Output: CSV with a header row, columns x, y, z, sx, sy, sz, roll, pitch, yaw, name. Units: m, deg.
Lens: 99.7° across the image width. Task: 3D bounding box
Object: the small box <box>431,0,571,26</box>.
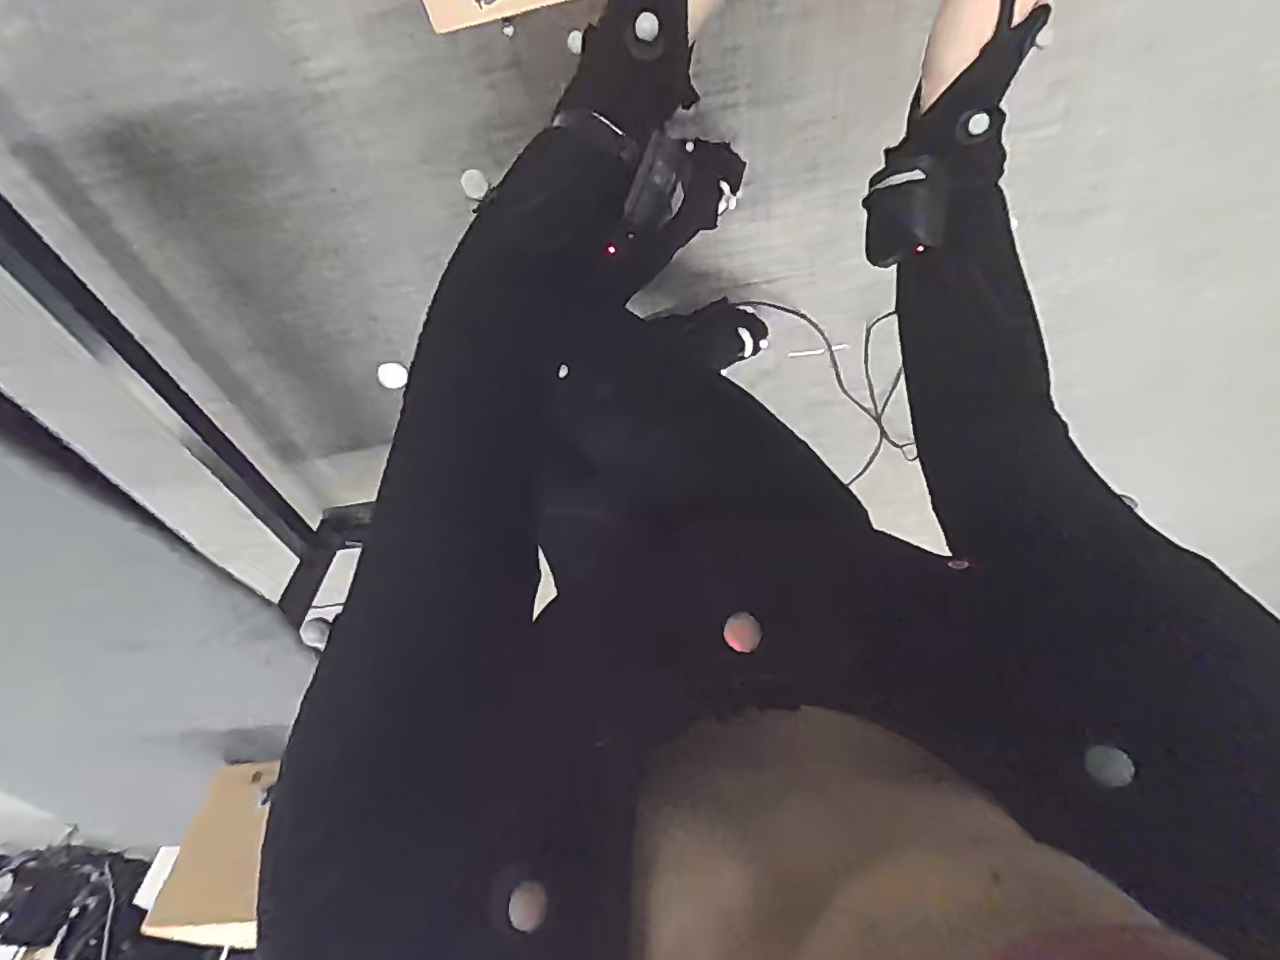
x,y,z,sx,sy,sz,roll,pitch,yaw,name
-0.118,-0.536,0.480,0.168,0.176,0.179,-8,134,6,small box
